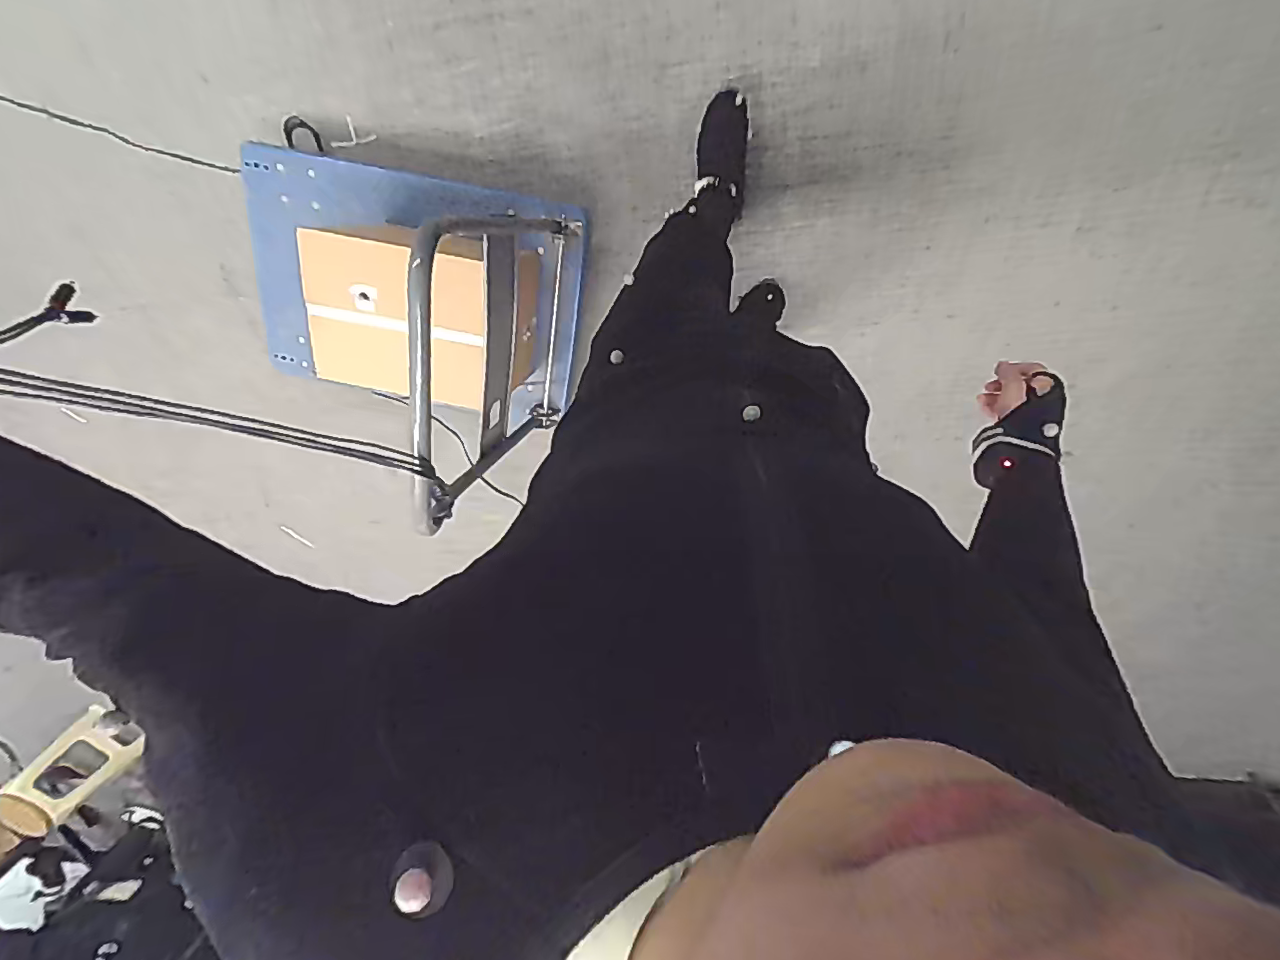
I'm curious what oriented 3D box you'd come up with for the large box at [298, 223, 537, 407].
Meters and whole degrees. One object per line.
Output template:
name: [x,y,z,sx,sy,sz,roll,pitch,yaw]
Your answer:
large box: [-0.478,-0.394,1.251,0.408,0.320,0.320,12,117,4]
